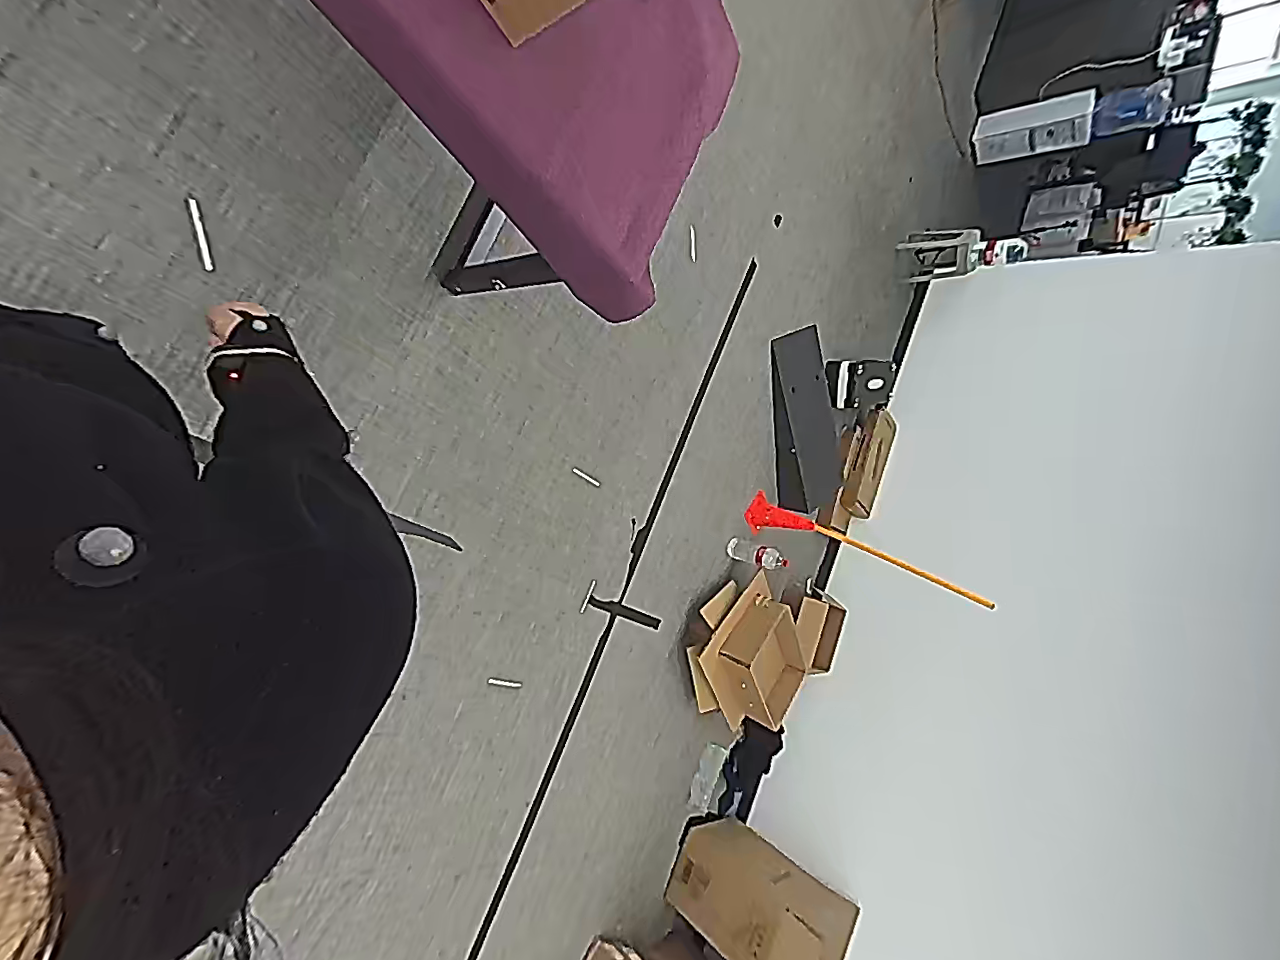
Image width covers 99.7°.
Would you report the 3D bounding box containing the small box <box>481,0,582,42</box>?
[{"bbox_3d":[-0.144,-0.742,0.718,0.168,0.176,0.179,39,71,-46],"label":"small box"}]
